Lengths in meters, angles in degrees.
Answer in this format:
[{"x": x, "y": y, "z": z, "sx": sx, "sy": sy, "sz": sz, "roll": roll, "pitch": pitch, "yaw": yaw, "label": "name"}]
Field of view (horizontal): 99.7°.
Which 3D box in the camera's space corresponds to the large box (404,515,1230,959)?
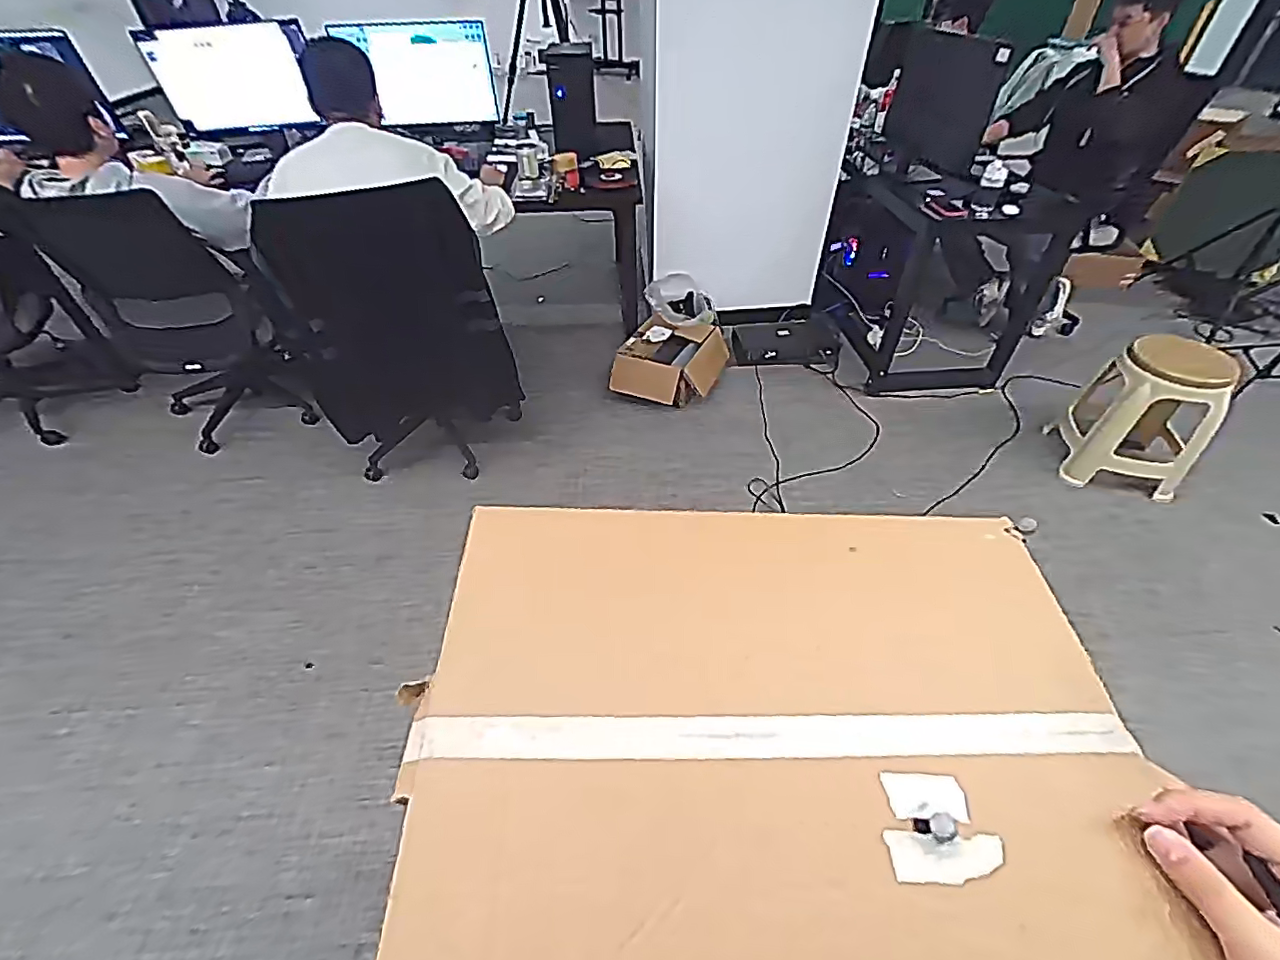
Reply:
[{"x": 0.075, "y": 0.243, "z": 0.431, "sx": 0.408, "sy": 0.320, "sz": 0.320, "roll": 2, "pitch": 51, "yaw": -4, "label": "large box"}]
